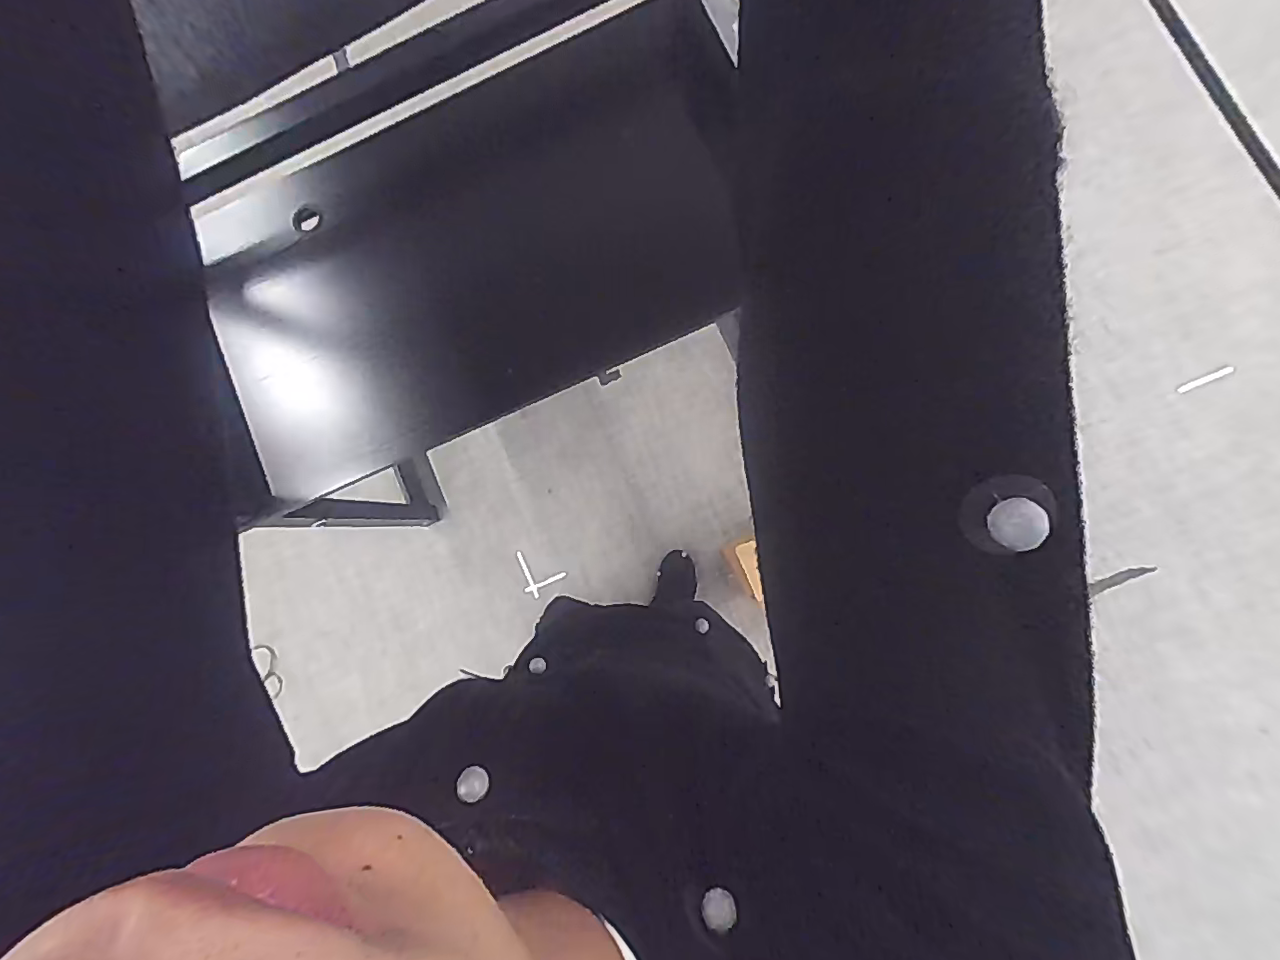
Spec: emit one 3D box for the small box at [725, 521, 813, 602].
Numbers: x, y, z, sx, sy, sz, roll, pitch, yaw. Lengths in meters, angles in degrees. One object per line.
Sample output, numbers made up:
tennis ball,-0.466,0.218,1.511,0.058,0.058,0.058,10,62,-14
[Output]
small box,0.349,0.219,1.501,0.179,0.176,0.168,-26,83,4
